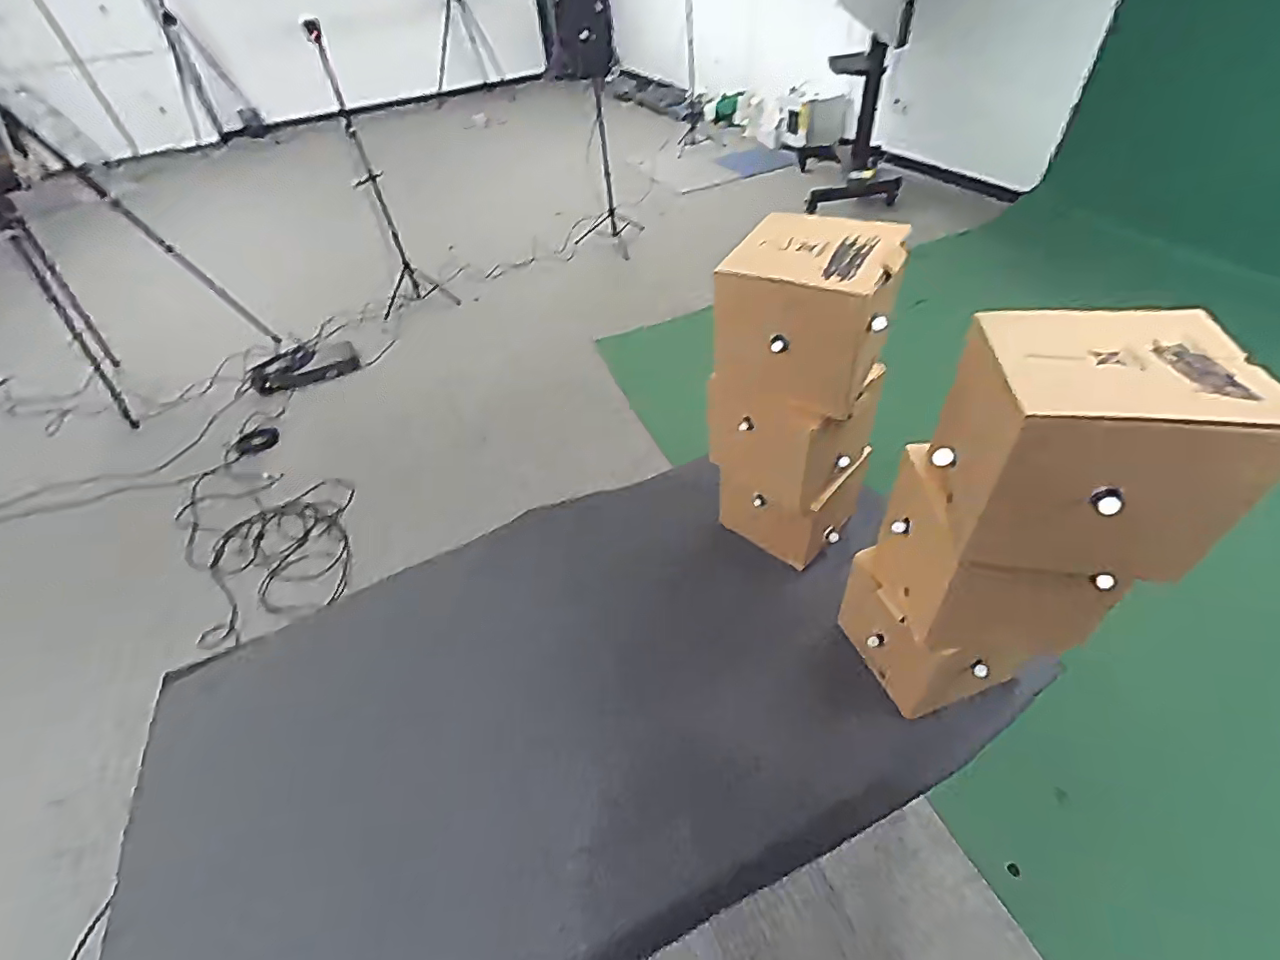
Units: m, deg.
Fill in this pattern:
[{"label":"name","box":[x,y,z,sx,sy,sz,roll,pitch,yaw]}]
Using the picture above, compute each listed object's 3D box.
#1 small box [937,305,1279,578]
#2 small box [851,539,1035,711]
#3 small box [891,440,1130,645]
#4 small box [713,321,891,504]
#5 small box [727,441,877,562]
[{"label":"small box","box":[0.385,-0.034,0.469,0.179,0.176,0.168,5,44,14]},{"label":"small box","box":[0.403,0.177,0.722,0.179,0.176,0.168,-17,44,-8]},{"label":"small box","box":[0.395,0.069,0.599,0.179,0.176,0.168,-2,43,6]},{"label":"small box","box":[0.224,-0.097,0.784,0.168,0.176,0.179,-38,53,-22]},{"label":"small box","box":[0.260,0.006,0.909,0.179,0.176,0.168,33,61,30]}]
